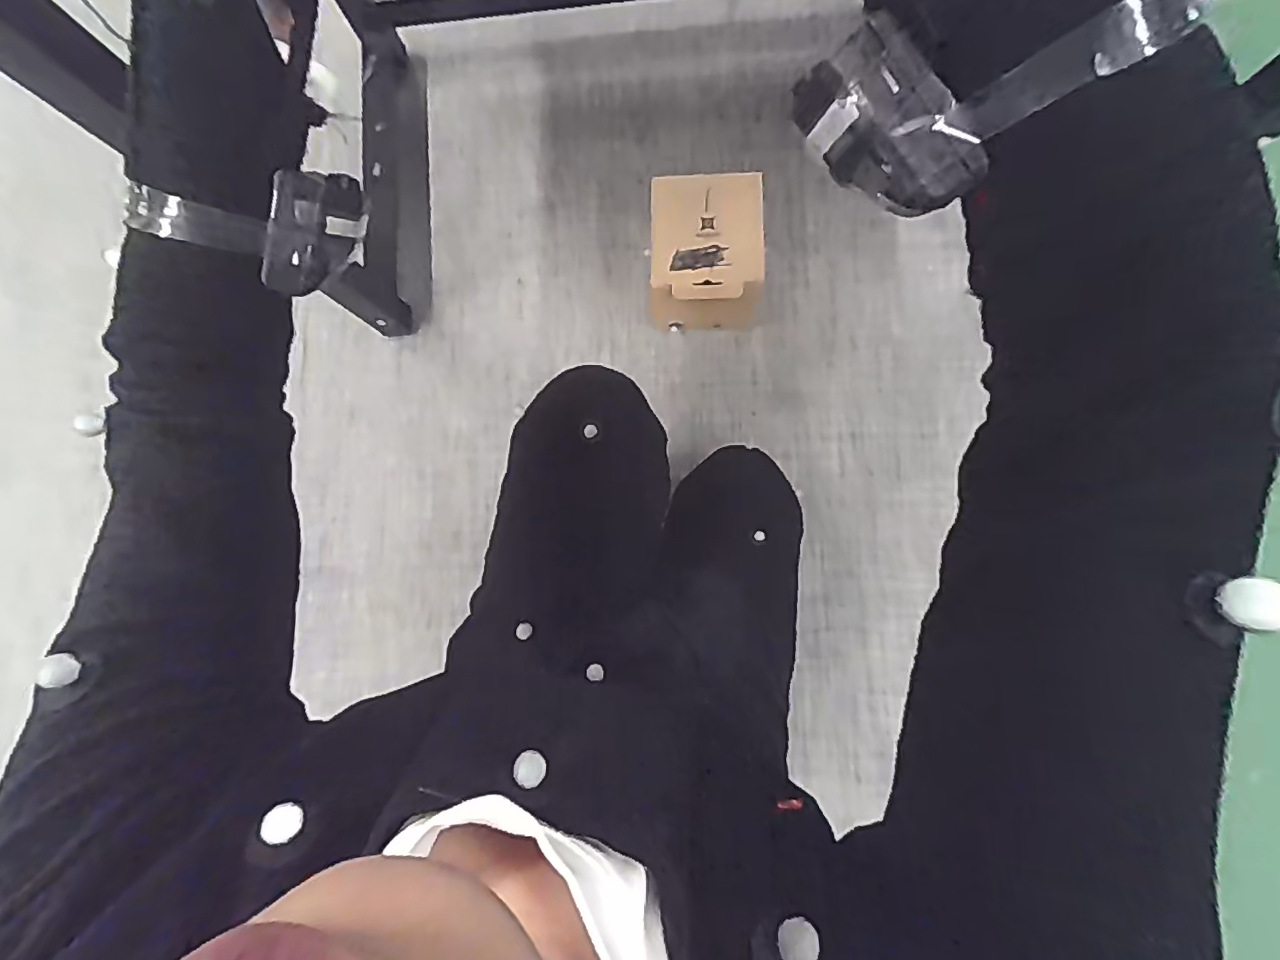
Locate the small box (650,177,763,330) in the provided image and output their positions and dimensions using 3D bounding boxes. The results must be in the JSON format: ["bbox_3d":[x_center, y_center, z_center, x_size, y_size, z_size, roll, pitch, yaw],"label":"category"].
[{"bbox_3d":[0.107,-0.352,0.873,0.168,0.176,0.179,0,82,5],"label":"small box"}]
